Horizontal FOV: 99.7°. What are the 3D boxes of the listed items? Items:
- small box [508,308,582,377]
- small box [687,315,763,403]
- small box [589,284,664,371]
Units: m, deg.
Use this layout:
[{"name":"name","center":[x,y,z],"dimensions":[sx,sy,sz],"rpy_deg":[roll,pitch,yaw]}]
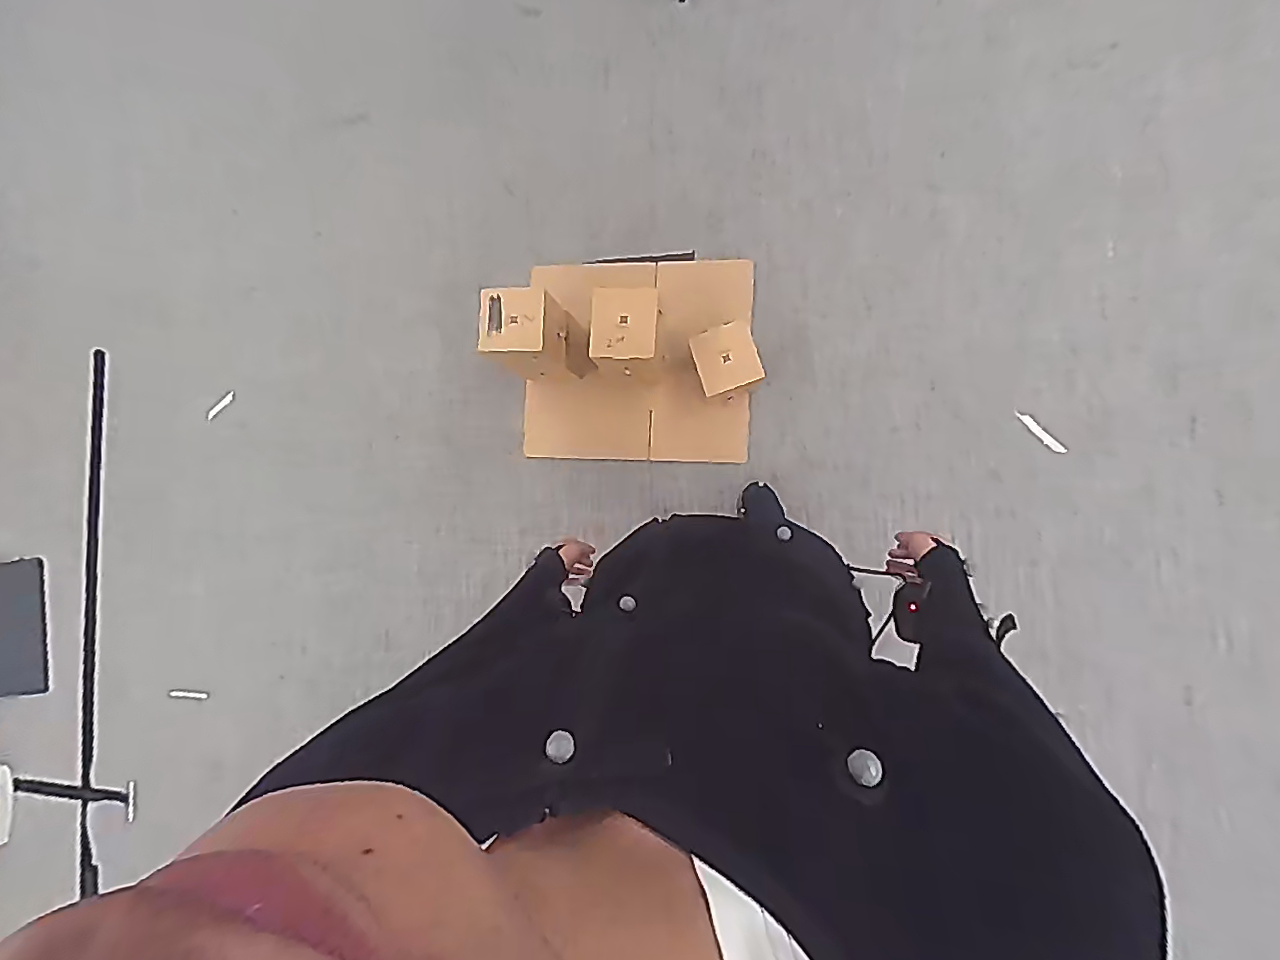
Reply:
[{"name":"small box","center":[-0.278,-0.407,1.613],"dimensions":[0.179,0.176,0.168],"rpy_deg":[2,89,10]},{"name":"small box","center":[0.240,-0.336,1.533],"dimensions":[0.168,0.176,0.179],"rpy_deg":[-18,85,9]},{"name":"small box","center":[-0.030,-0.393,1.410],"dimensions":[0.168,0.176,0.179],"rpy_deg":[4,90,9]}]
